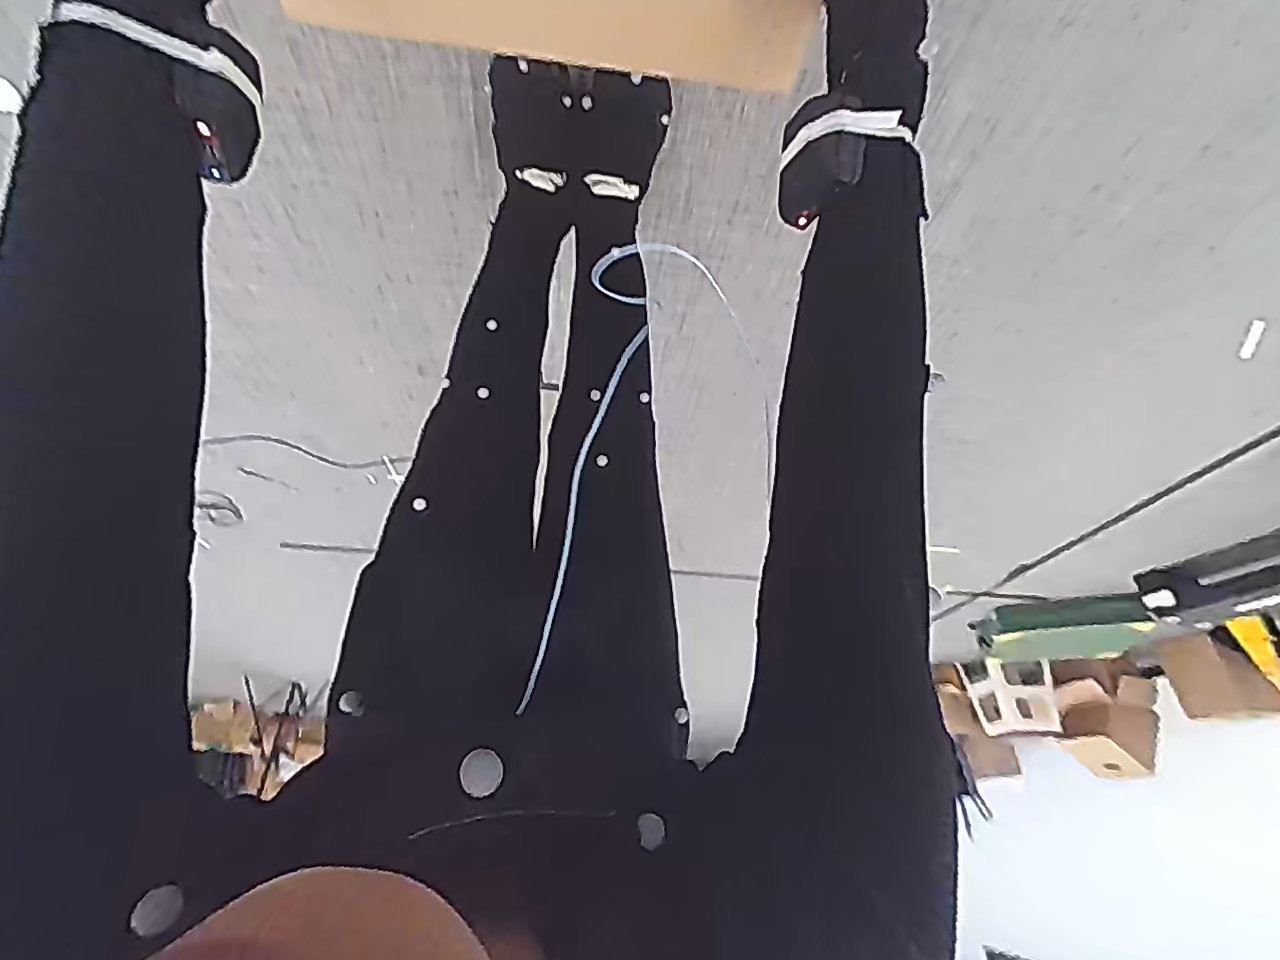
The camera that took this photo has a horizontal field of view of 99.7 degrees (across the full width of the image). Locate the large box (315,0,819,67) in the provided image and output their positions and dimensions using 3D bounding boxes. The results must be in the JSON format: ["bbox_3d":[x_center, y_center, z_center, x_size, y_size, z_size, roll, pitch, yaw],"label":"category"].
[{"bbox_3d":[-0.046,-0.567,0.382,0.408,0.320,0.320,3,154,-7],"label":"large box"}]
